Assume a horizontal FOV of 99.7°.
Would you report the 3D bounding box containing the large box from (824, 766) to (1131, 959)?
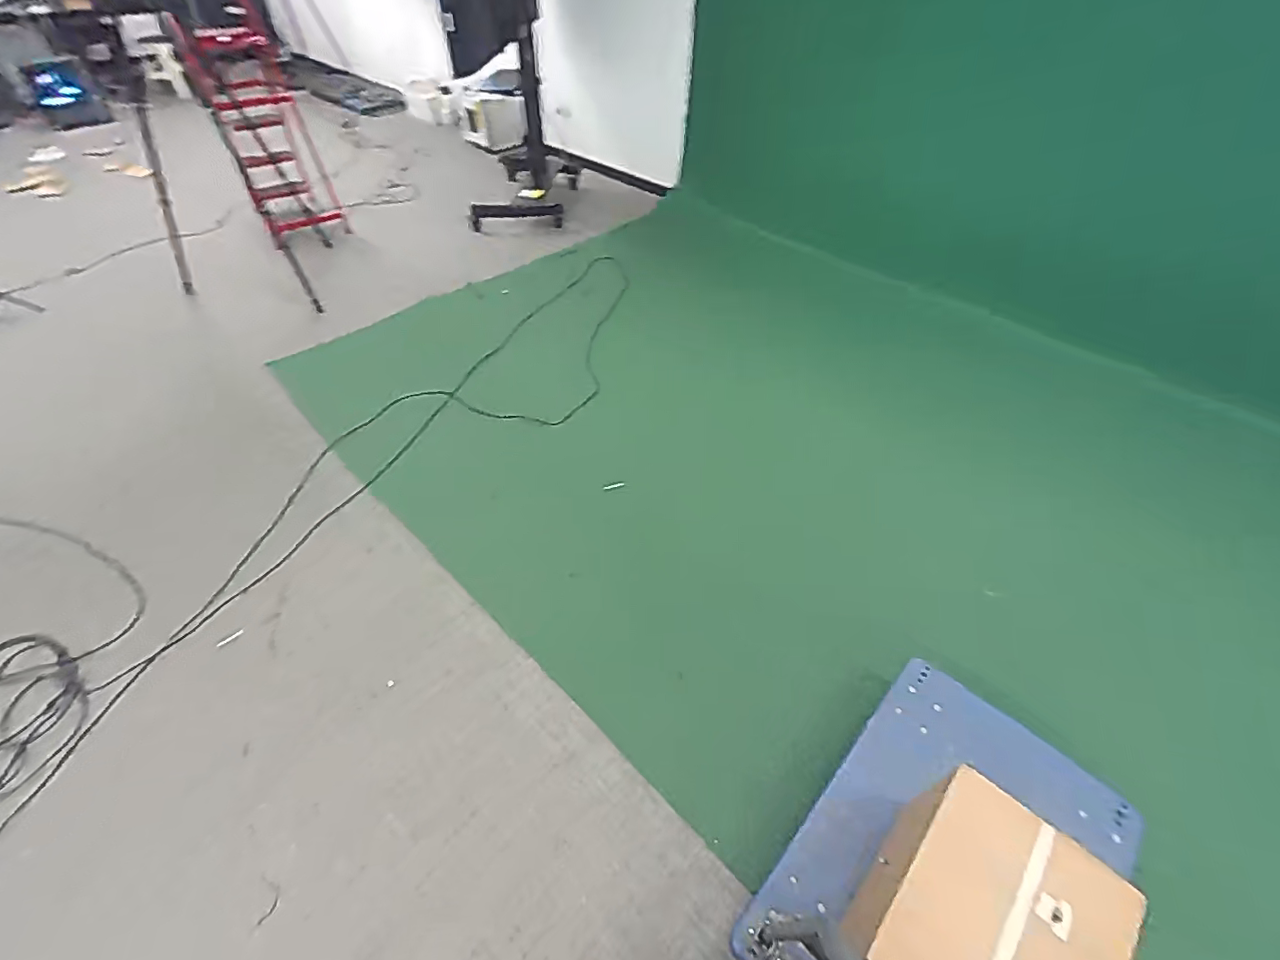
[{"bbox_3d":[0.600,0.847,1.005,0.320,0.320,0.408,35,55,28],"label":"large box"}]
